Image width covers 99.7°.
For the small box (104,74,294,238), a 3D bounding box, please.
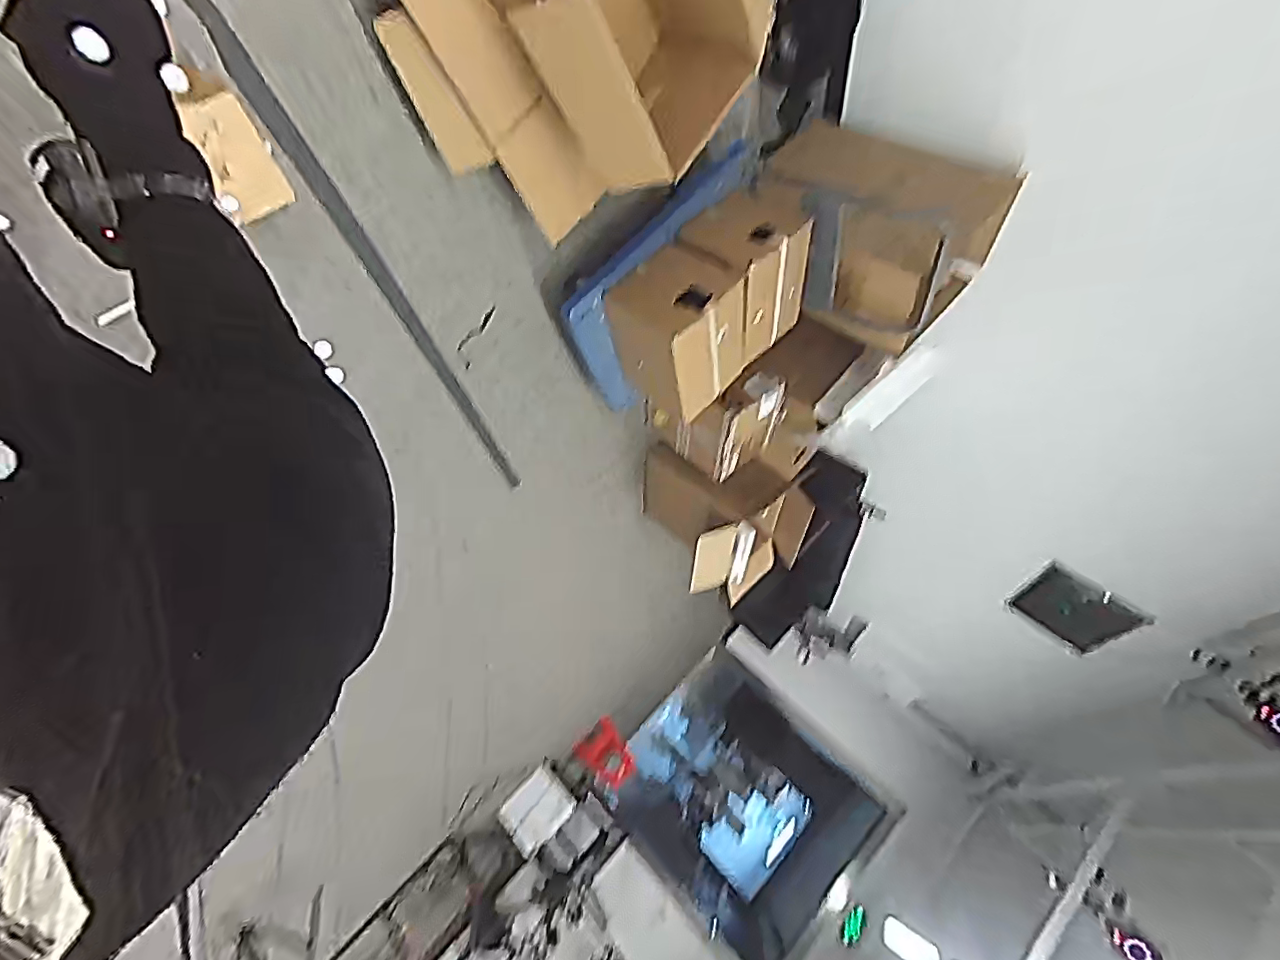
[{"bbox_3d":[-0.755,-0.561,0.936,0.168,0.176,0.179,-40,151,-21],"label":"small box"}]
